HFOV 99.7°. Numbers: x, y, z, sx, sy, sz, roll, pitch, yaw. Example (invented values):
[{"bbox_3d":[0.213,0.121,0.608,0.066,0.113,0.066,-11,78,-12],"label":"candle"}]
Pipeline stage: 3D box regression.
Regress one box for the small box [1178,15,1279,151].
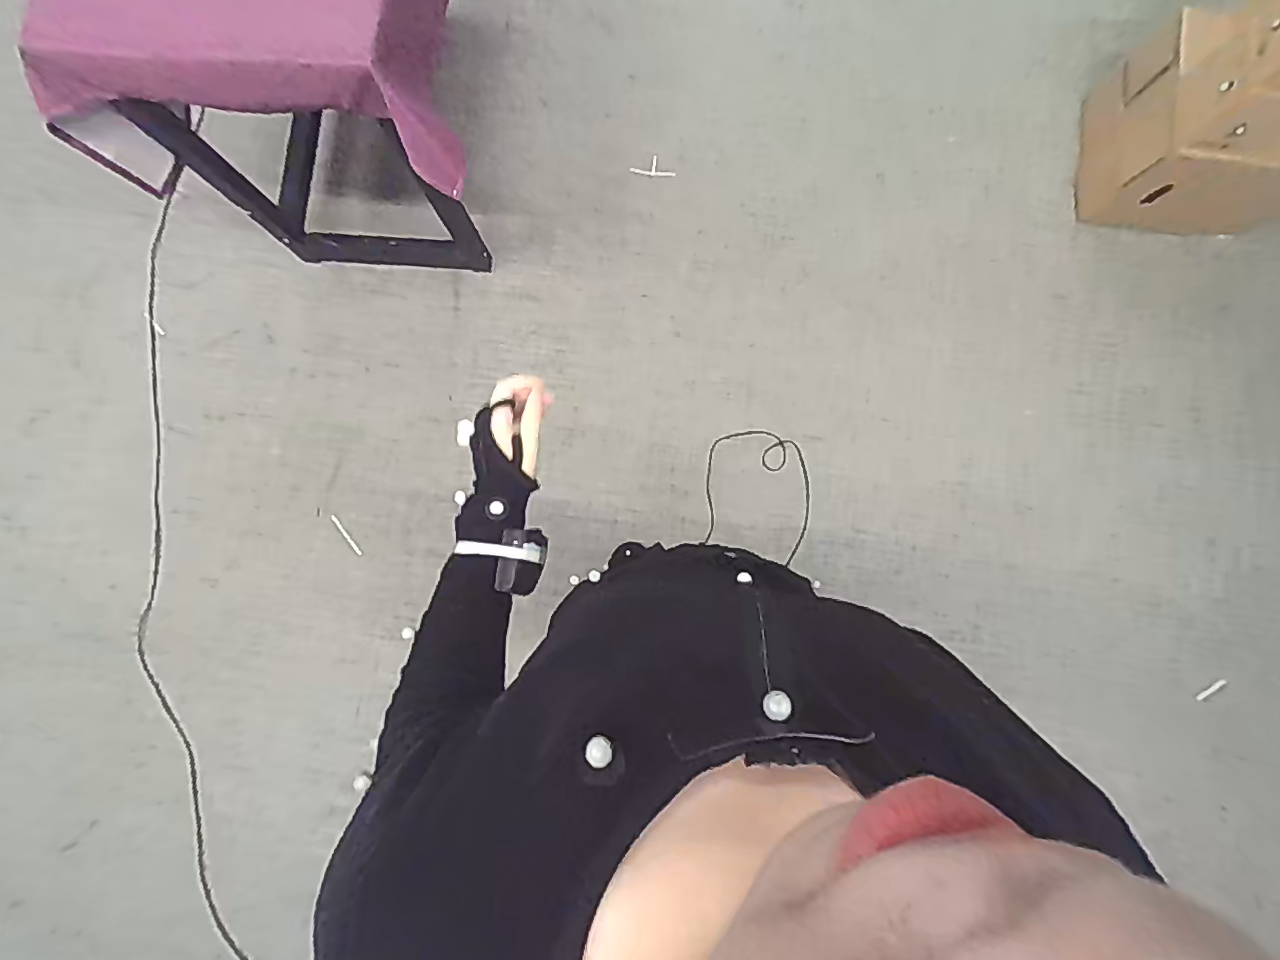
[{"bbox_3d":[1.378,-0.886,1.223,0.168,0.176,0.179,9,84,0],"label":"small box"}]
